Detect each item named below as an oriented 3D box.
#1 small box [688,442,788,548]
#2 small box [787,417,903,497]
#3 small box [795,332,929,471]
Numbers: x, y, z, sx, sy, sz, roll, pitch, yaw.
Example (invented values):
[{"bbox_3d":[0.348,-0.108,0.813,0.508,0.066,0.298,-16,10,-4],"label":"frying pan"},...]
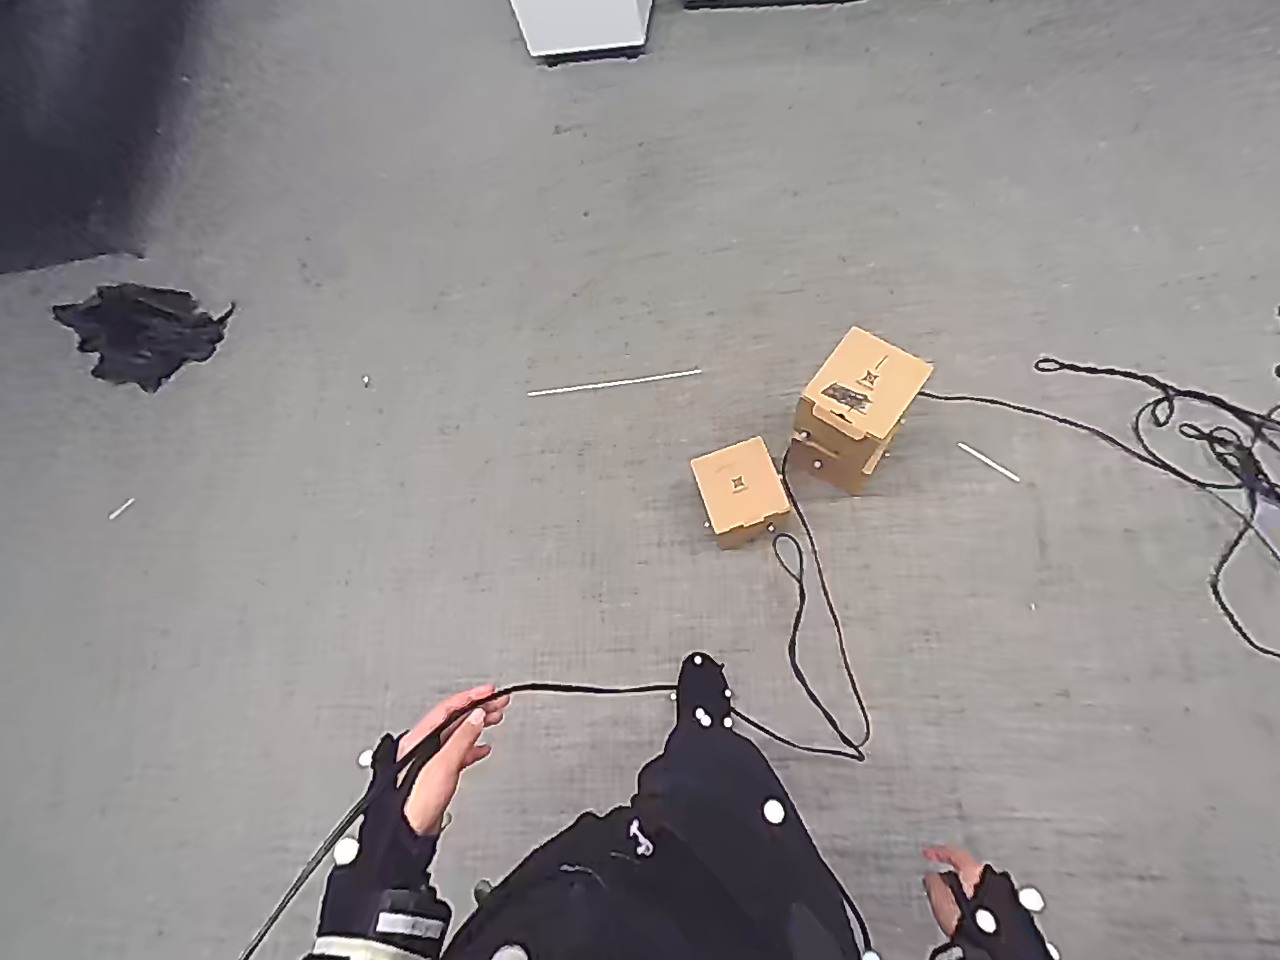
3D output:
[{"bbox_3d":[0.218,0.044,1.209,0.168,0.176,0.179,-19,69,3],"label":"small box"},{"bbox_3d":[0.444,-0.082,1.203,0.179,0.176,0.168,30,80,19],"label":"small box"},{"bbox_3d":[0.417,-0.143,1.052,0.168,0.176,0.179,36,81,19],"label":"small box"}]
